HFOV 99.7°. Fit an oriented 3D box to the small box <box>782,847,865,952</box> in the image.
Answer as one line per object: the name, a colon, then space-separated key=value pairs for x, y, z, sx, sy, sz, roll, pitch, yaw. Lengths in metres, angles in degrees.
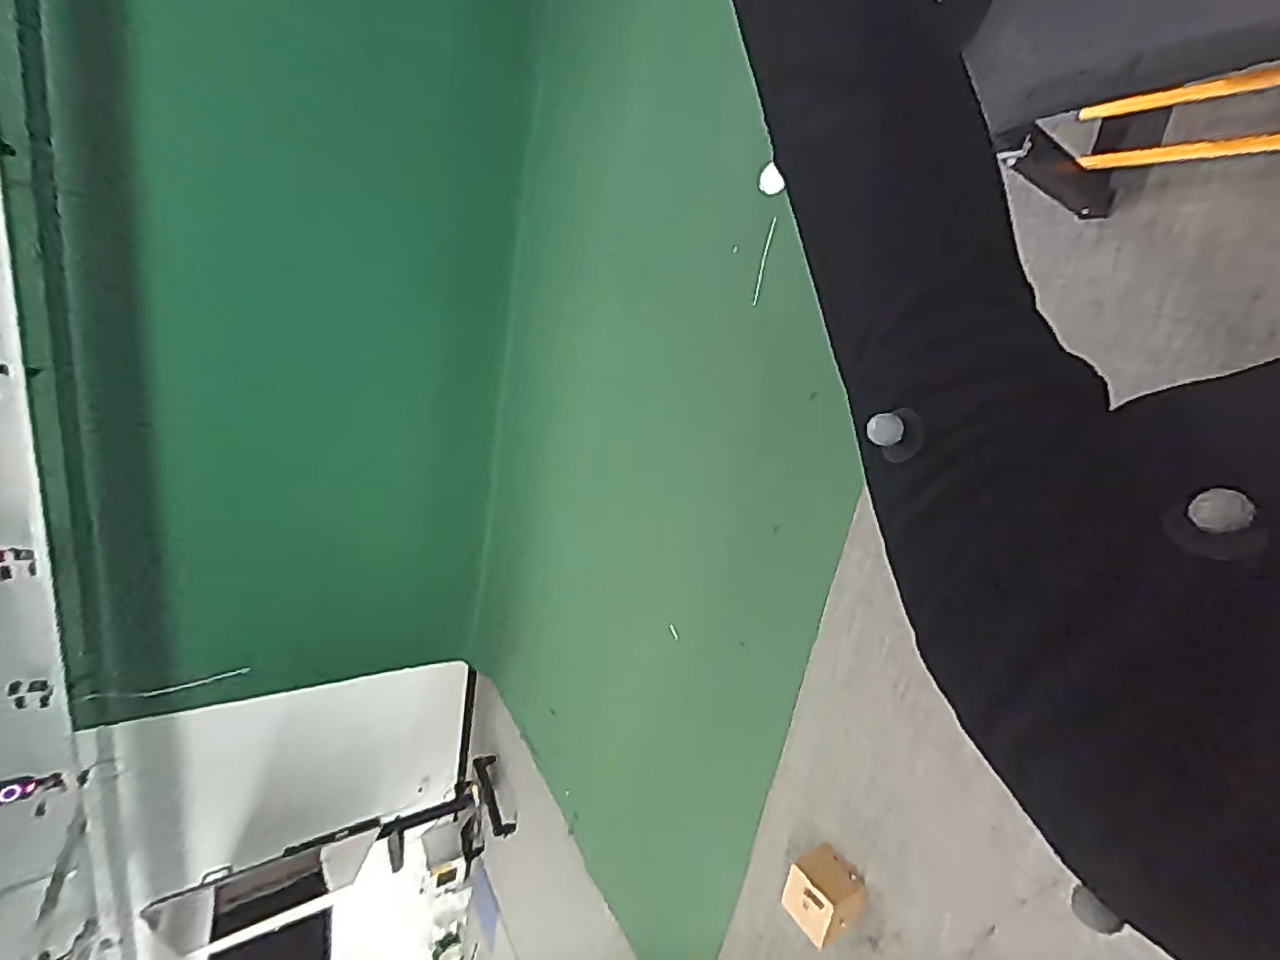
small box: x=0.585 y=1.320 z=1.716 sx=0.168 sy=0.176 sz=0.179 roll=29 pitch=114 yaw=52
